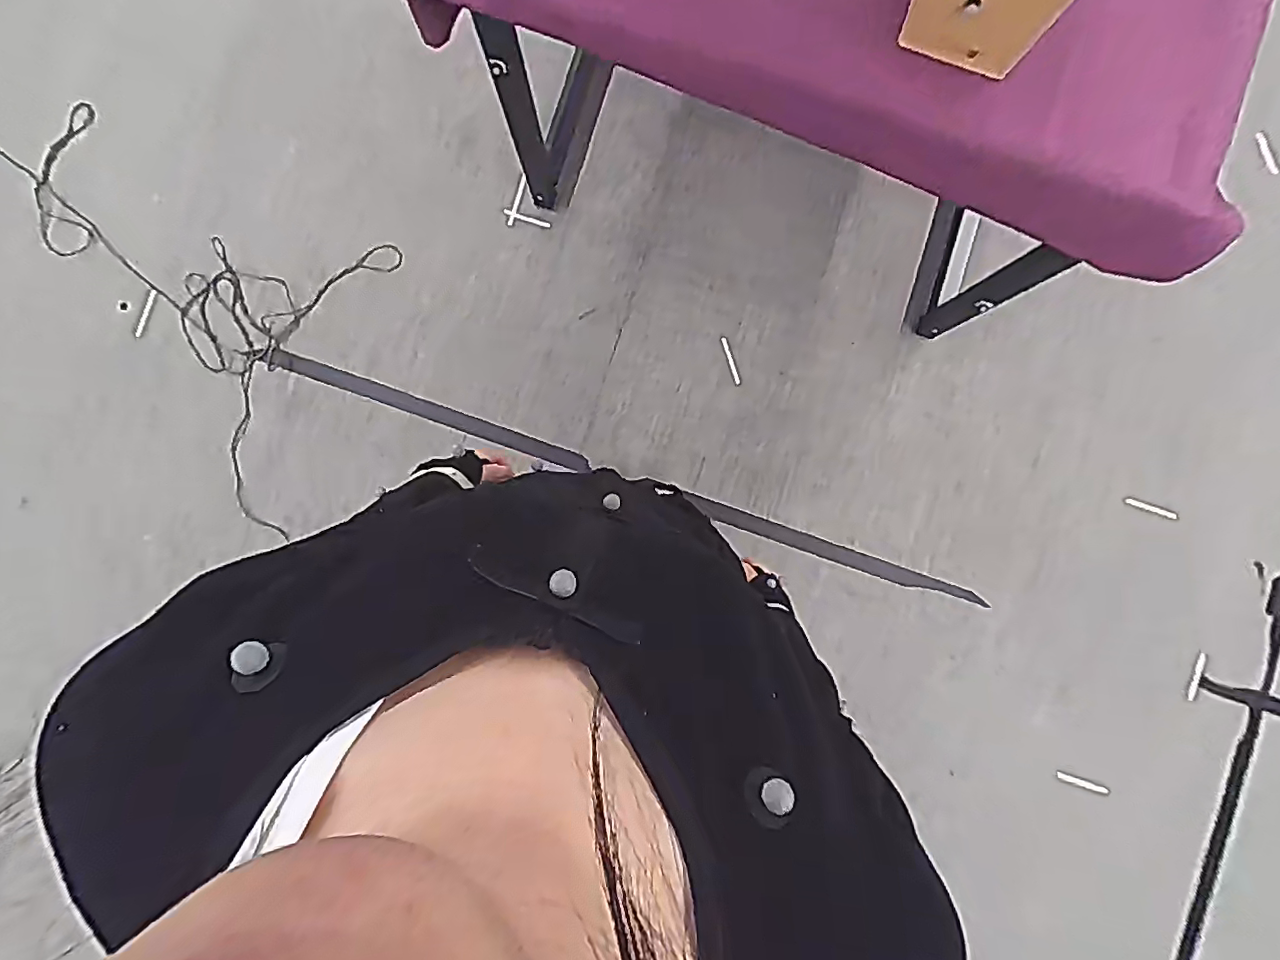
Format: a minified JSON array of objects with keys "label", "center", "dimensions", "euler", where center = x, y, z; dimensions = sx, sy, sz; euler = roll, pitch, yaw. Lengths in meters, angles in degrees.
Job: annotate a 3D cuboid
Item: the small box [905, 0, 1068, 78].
[{"label":"small box","center":[0.490,-0.700,0.730],"dimensions":[0.168,0.176,0.179],"euler":[19,88,0]}]
